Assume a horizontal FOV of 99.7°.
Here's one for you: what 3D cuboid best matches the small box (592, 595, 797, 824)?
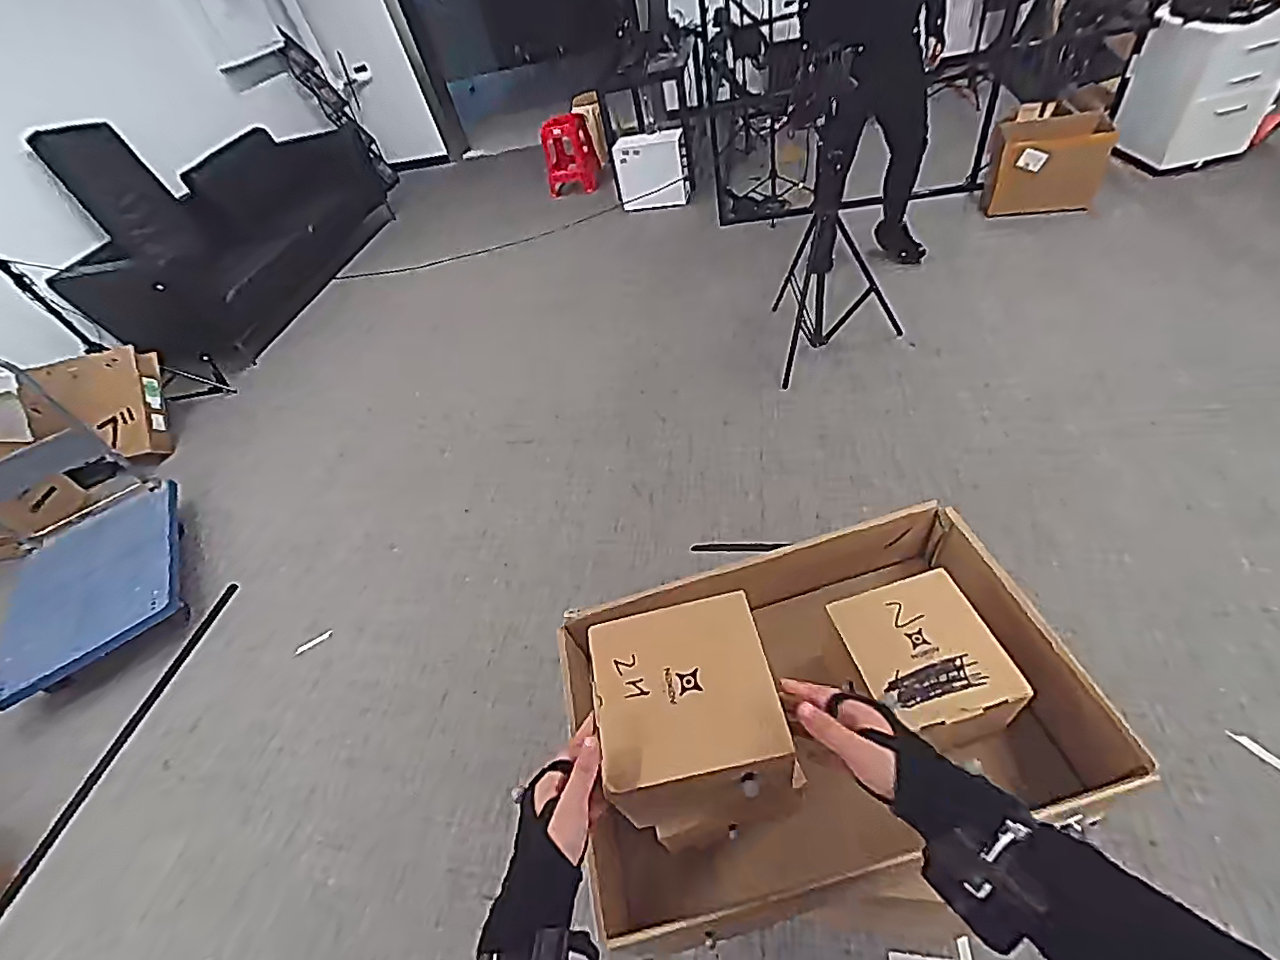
[{"bbox_3d":[0.057,0.252,0.586,0.179,0.176,0.168,-14,47,3],"label":"small box"}]
